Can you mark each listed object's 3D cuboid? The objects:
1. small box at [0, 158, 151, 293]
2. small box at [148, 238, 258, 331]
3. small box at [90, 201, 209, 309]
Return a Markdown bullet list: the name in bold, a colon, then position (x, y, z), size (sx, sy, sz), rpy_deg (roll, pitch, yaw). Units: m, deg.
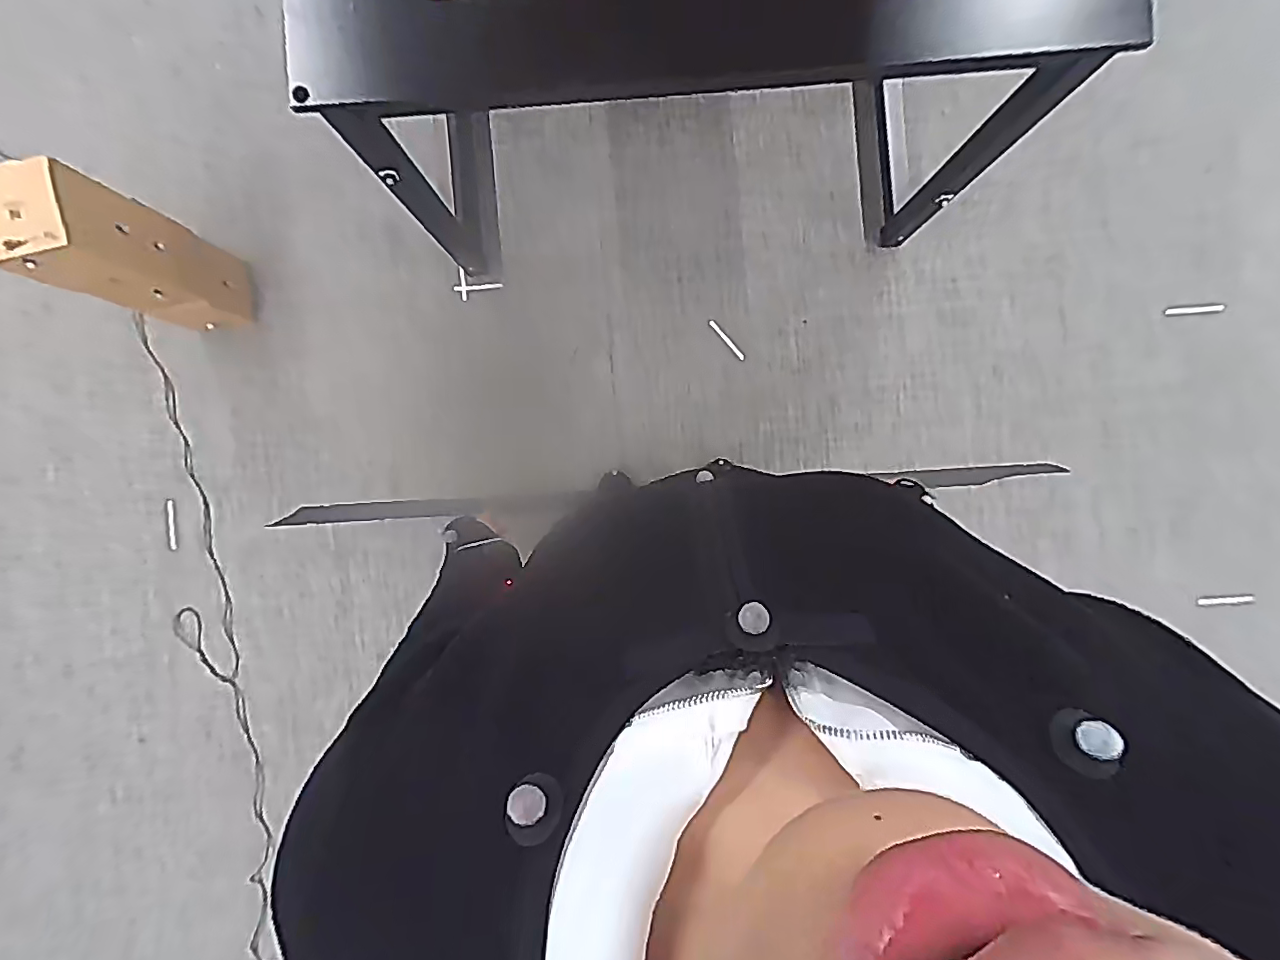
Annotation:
- **small box**: position (-1.155, -0.506, 1.096), size (0.168, 0.176, 0.179), rpy_deg (-13, 90, 0)
- **small box**: position (-1.151, -0.508, 1.422), size (0.168, 0.176, 0.179), rpy_deg (-8, 91, 1)
- **small box**: position (-1.155, -0.512, 1.260), size (0.168, 0.176, 0.179), rpy_deg (-11, 89, 0)
